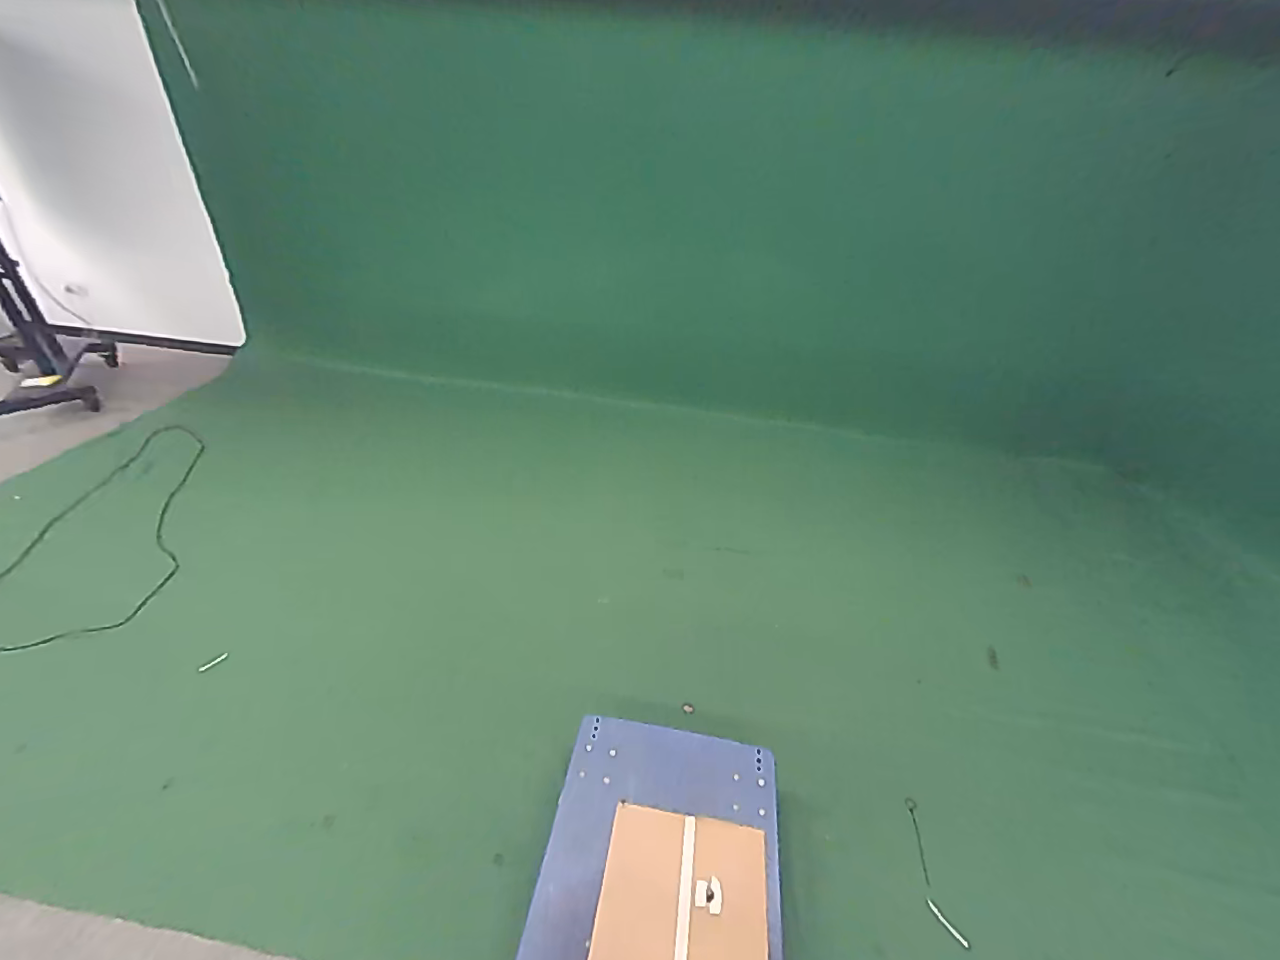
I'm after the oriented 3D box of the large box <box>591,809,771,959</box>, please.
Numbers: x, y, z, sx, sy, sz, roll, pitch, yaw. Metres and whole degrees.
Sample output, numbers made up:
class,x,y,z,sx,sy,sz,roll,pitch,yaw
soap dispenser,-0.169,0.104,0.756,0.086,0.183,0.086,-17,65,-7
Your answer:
class,x,y,z,sx,sy,sz,roll,pitch,yaw
large box,0.068,0.937,1.031,0.320,0.320,0.408,9,33,5
